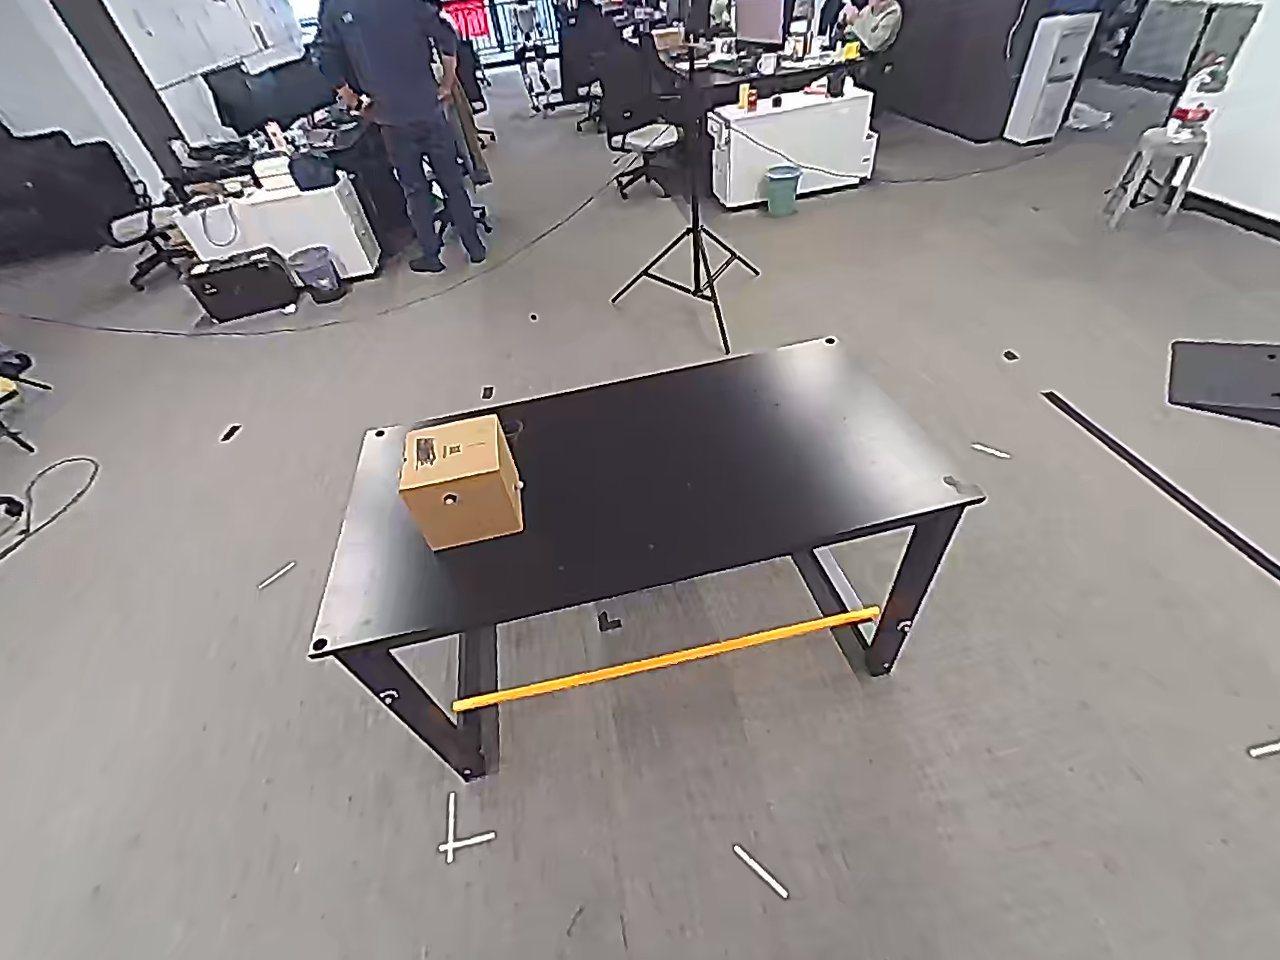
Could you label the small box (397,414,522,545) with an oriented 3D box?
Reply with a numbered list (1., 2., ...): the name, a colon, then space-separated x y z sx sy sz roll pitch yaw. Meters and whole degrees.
1. small box: -0.334 0.002 1.030 0.179 0.176 0.168 -12 45 -5
